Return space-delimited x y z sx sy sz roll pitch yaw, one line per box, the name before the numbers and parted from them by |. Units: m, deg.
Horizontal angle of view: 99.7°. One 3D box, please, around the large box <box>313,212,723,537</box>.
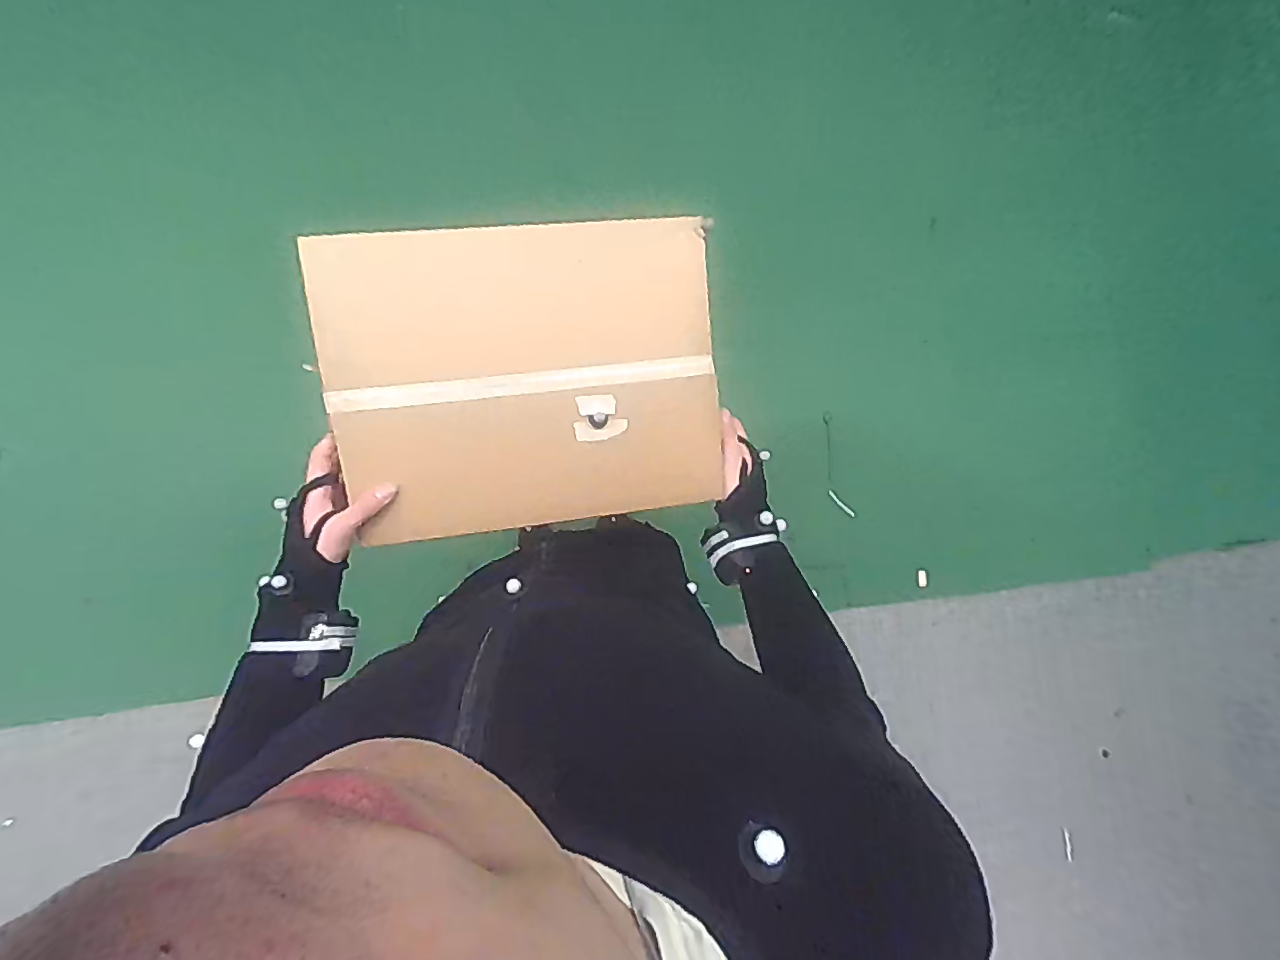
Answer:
large box | -0.139 -0.137 0.727 0.408 0.320 0.320 -8 101 -9
